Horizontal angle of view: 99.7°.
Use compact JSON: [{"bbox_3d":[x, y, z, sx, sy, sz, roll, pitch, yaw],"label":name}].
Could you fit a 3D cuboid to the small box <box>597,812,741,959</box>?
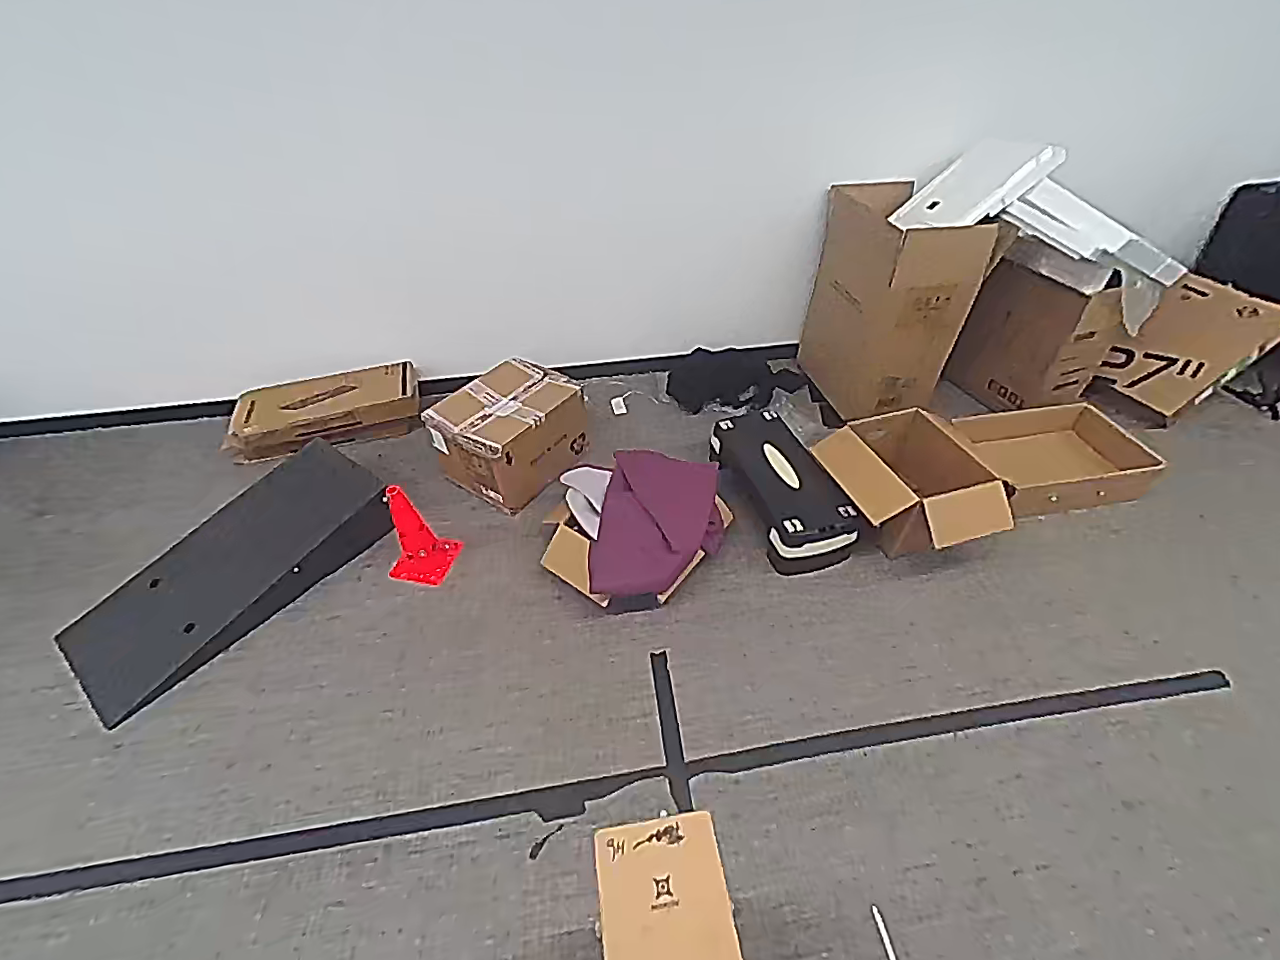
[{"bbox_3d":[0.035,0.589,0.743,0.168,0.176,0.179,-7,44,-5],"label":"small box"}]
